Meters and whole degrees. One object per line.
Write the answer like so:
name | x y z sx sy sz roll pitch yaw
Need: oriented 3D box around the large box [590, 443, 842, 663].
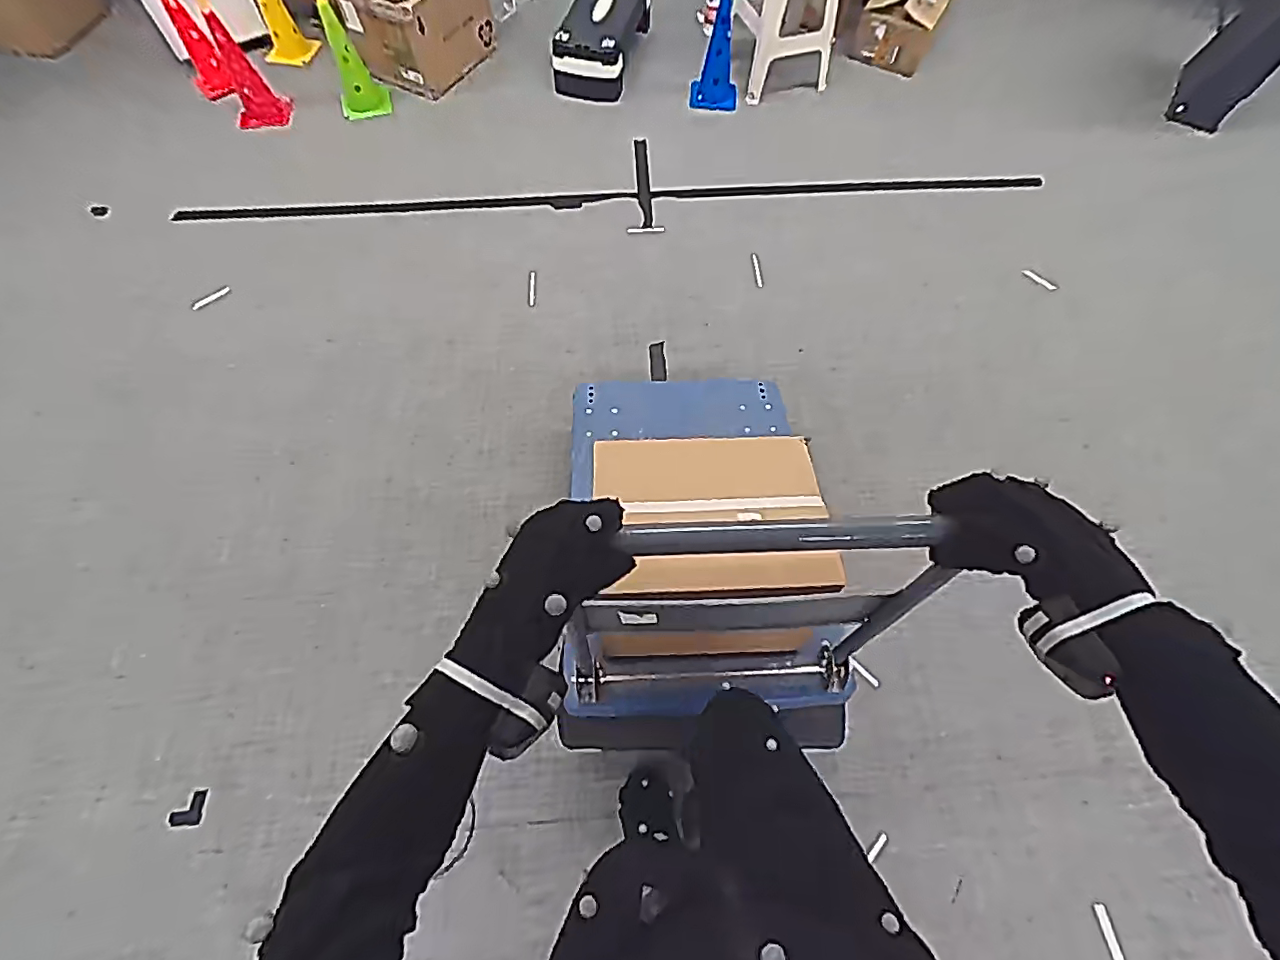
large box | 0.111 0.147 1.053 0.408 0.320 0.320 -2 54 -3
